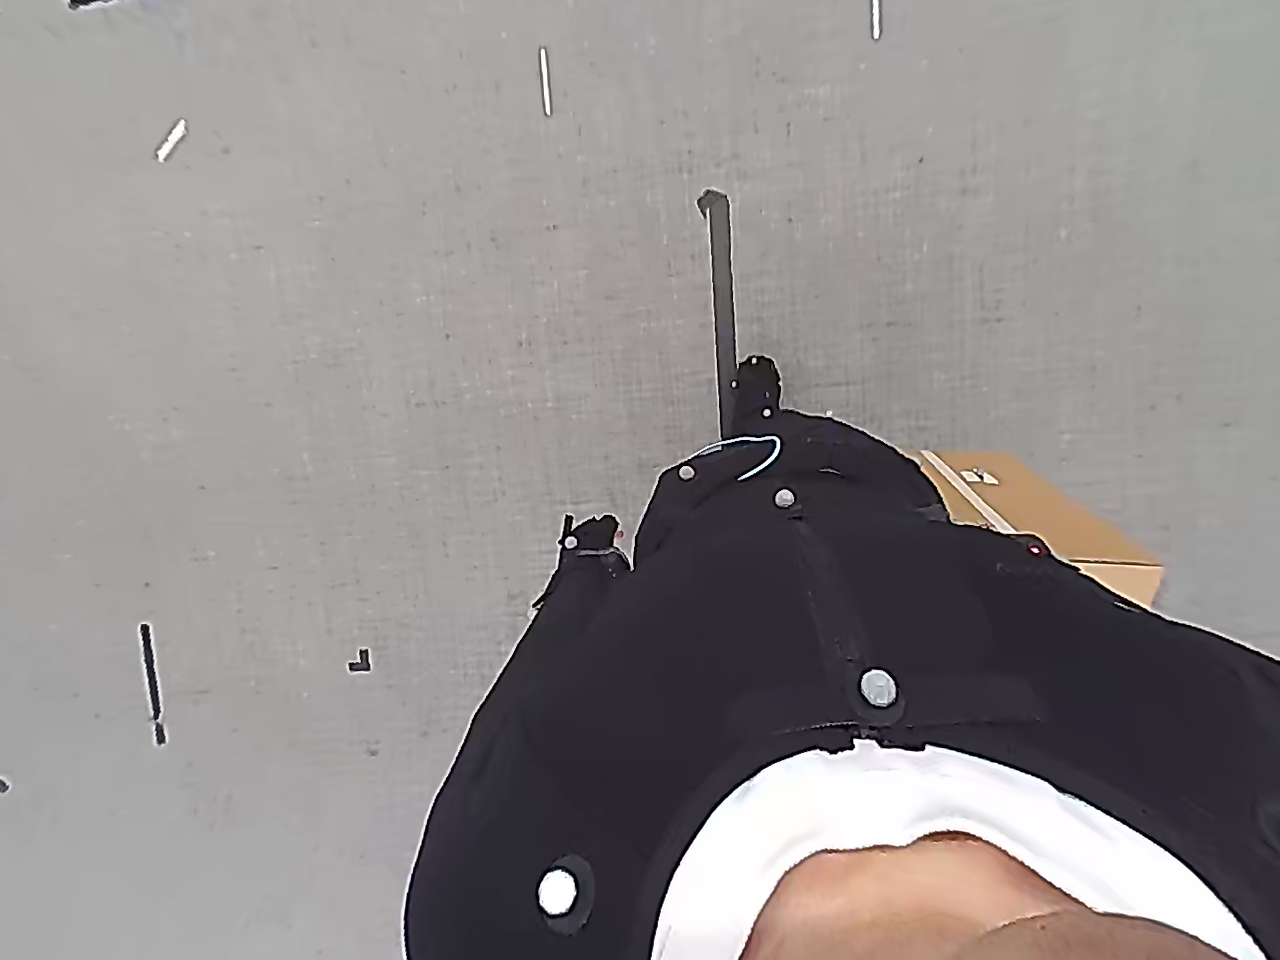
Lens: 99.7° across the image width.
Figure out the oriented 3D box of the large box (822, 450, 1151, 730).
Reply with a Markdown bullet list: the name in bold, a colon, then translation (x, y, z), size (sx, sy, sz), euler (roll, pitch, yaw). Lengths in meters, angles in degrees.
- **large box**: translation (0.524, 0.160, 0.934), size (0.320, 0.408, 0.320), euler (2, 112, 6)
